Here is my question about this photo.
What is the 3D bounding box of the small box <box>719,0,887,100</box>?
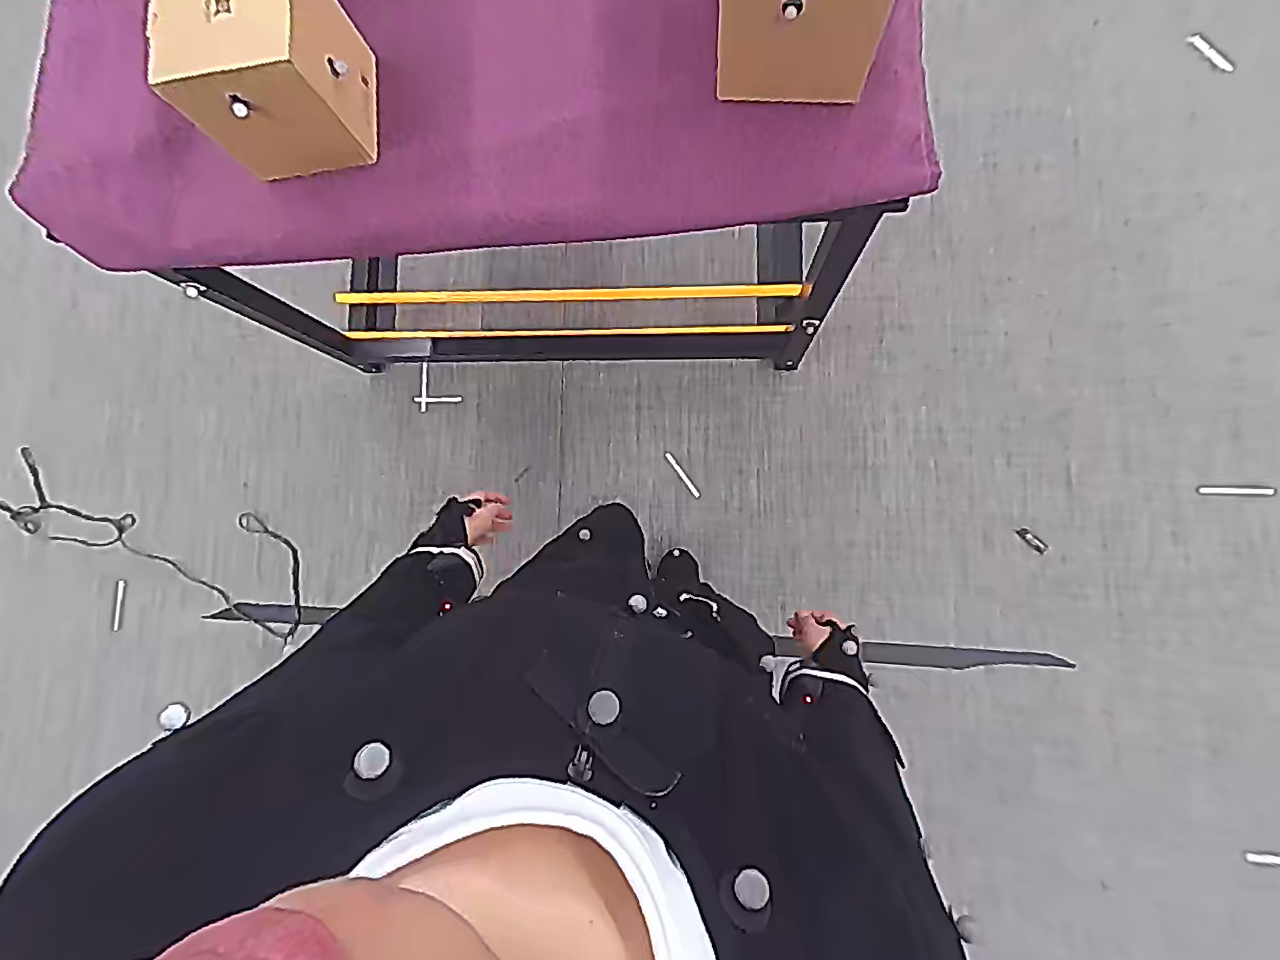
[{"bbox_3d":[0.184,-0.566,0.607,0.179,0.176,0.168,7,84,7],"label":"small box"}]

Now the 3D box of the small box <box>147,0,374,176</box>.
[{"bbox_3d":[-0.456,-0.516,0.676,0.179,0.176,0.168,-5,84,6],"label":"small box"}]
